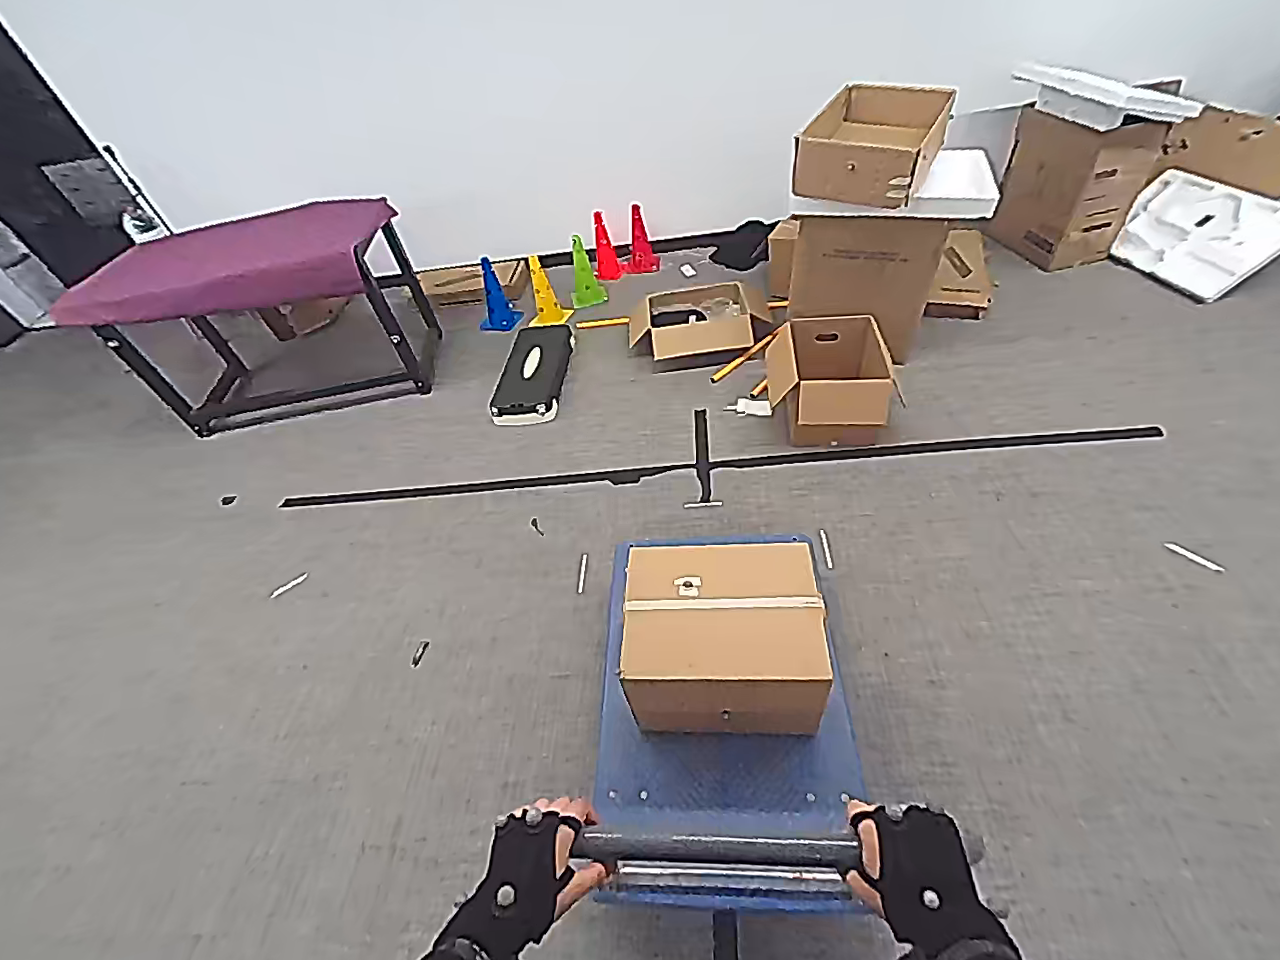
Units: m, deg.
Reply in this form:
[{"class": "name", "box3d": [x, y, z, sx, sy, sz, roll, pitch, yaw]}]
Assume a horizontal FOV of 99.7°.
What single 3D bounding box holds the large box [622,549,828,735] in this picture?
[{"class": "large box", "box3d": [0.188, 0.382, 1.250, 0.408, 0.320, 0.320, -4, 46, 8]}]
